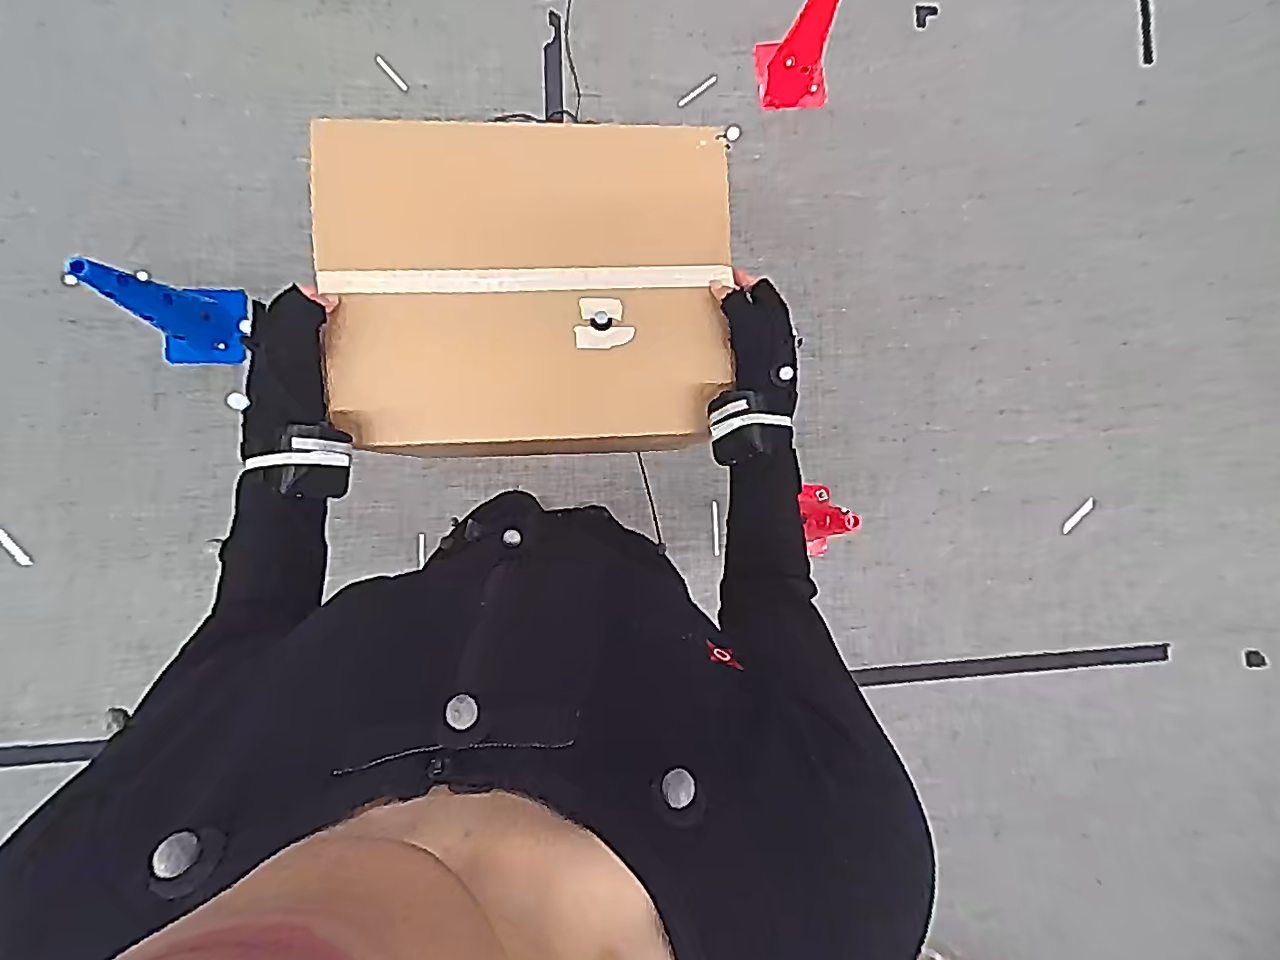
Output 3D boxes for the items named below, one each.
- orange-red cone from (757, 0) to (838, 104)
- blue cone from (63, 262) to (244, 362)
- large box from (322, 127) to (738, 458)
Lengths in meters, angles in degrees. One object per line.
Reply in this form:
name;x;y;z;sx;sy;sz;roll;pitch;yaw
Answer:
orange-red cone;0.458;-1.207;1.410;0.198;0.360;0.199;-5;86;-5
blue cone;-1.141;-0.415;1.270;0.192;0.380;0.193;1;87;-3
large box;-0.120;-0.200;0.691;0.408;0.320;0.320;-3;91;-6
